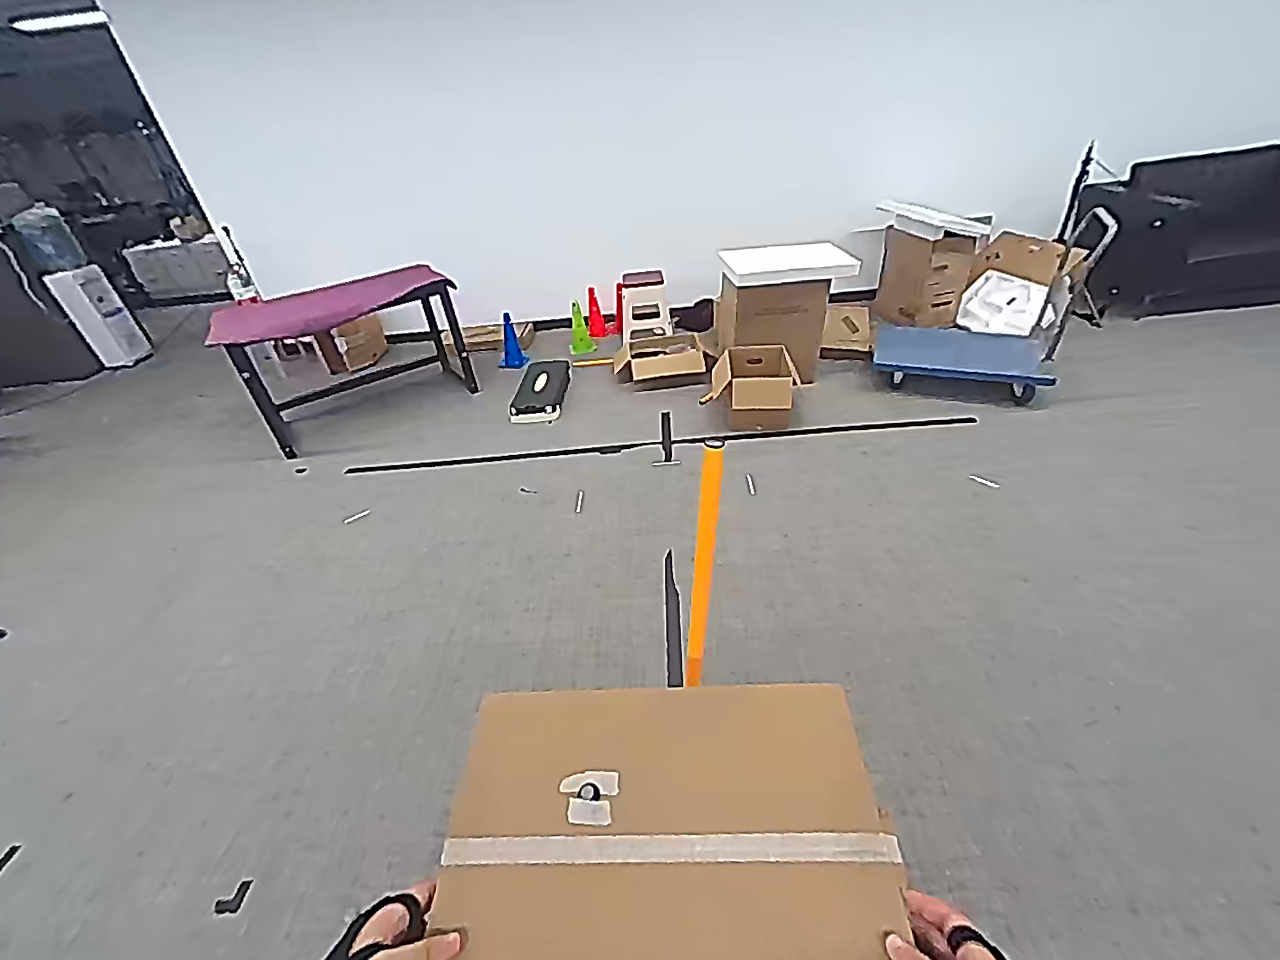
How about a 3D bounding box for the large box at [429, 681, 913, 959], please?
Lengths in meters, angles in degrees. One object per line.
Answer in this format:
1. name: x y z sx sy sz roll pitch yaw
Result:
1. large box: 0.038 0.453 0.597 0.408 0.320 0.320 -5 40 6
